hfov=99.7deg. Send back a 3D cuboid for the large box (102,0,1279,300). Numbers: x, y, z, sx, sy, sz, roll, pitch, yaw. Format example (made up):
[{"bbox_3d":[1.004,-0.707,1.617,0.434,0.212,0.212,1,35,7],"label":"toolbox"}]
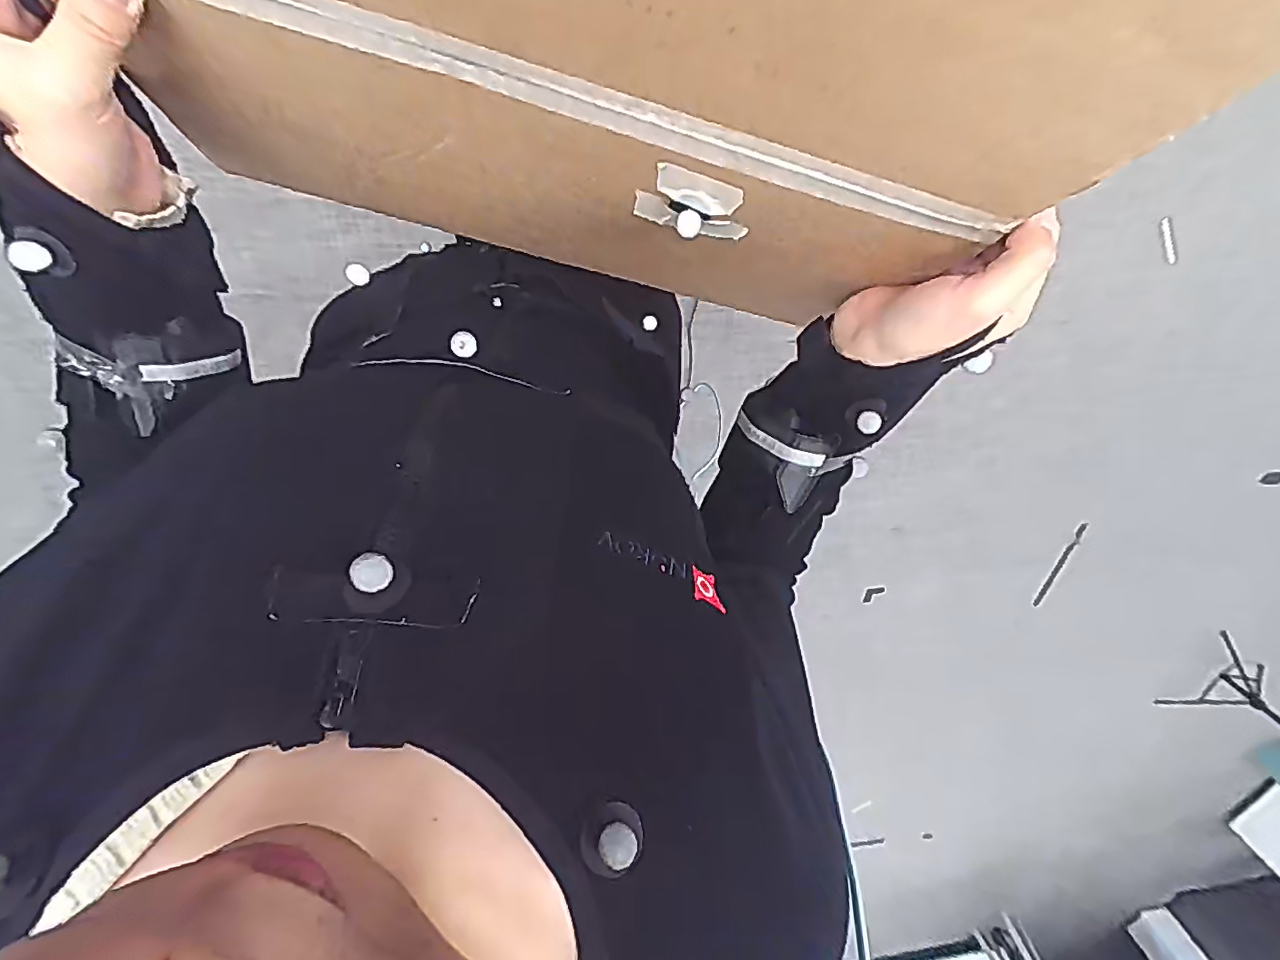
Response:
[{"bbox_3d":[0.012,-0.310,0.194,0.408,0.320,0.320,11,87,-9],"label":"large box"}]
